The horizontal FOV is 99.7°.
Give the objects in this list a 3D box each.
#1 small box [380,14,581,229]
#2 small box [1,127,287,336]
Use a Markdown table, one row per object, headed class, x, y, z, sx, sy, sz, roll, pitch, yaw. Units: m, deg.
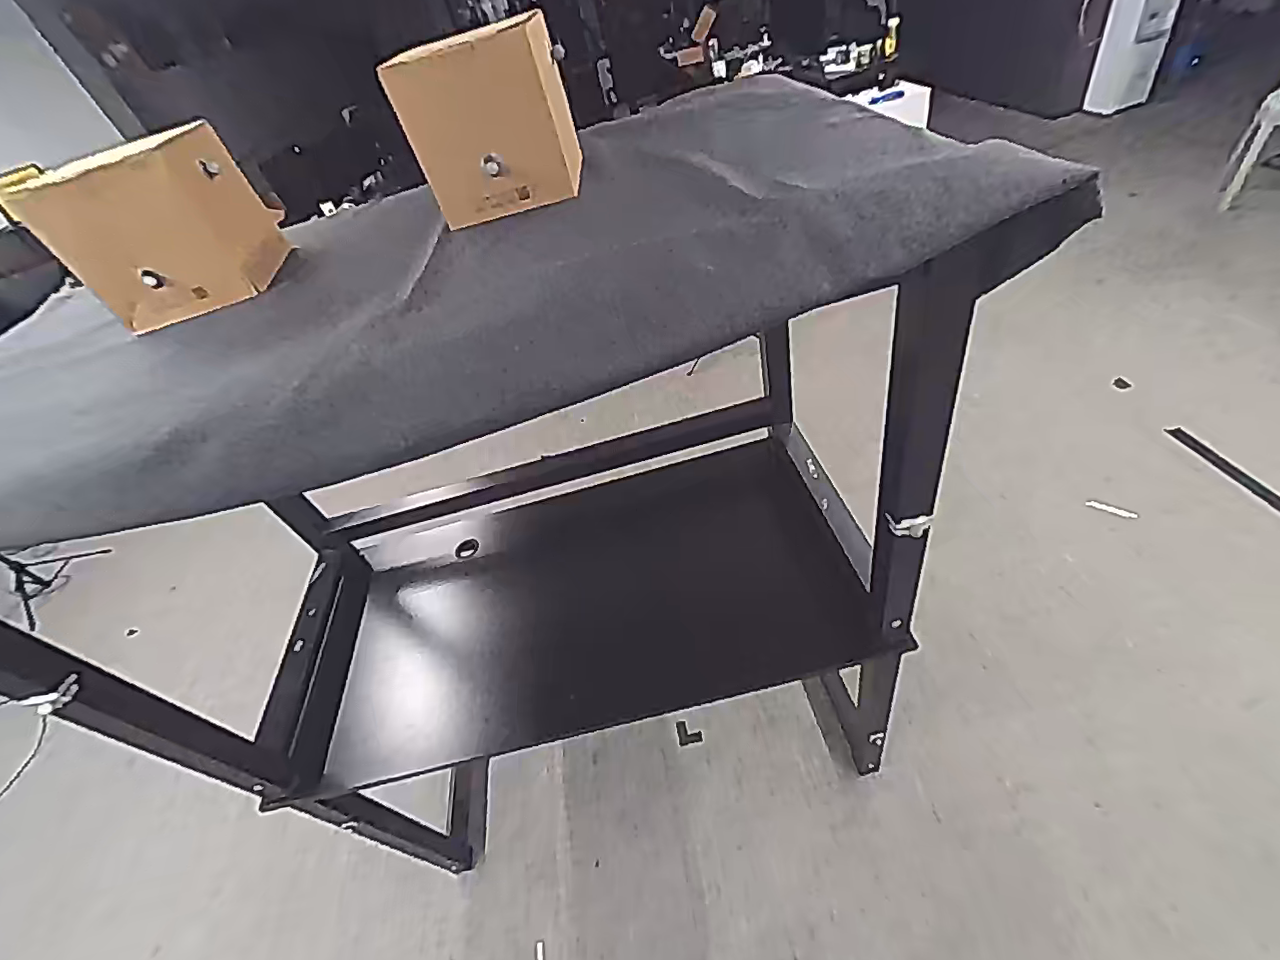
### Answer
| class | x | y | z | sx | sy | sz | roll | pitch | yaw |
| --- | --- | --- | --- | --- | --- | --- | --- | --- | --- |
| small box | -0.175 | -0.433 | 0.659 | 0.168 | 0.176 | 0.179 | -12 | 44 | 8 |
| small box | -0.579 | -0.306 | 0.669 | 0.168 | 0.176 | 0.179 | -20 | 44 | -2 |
